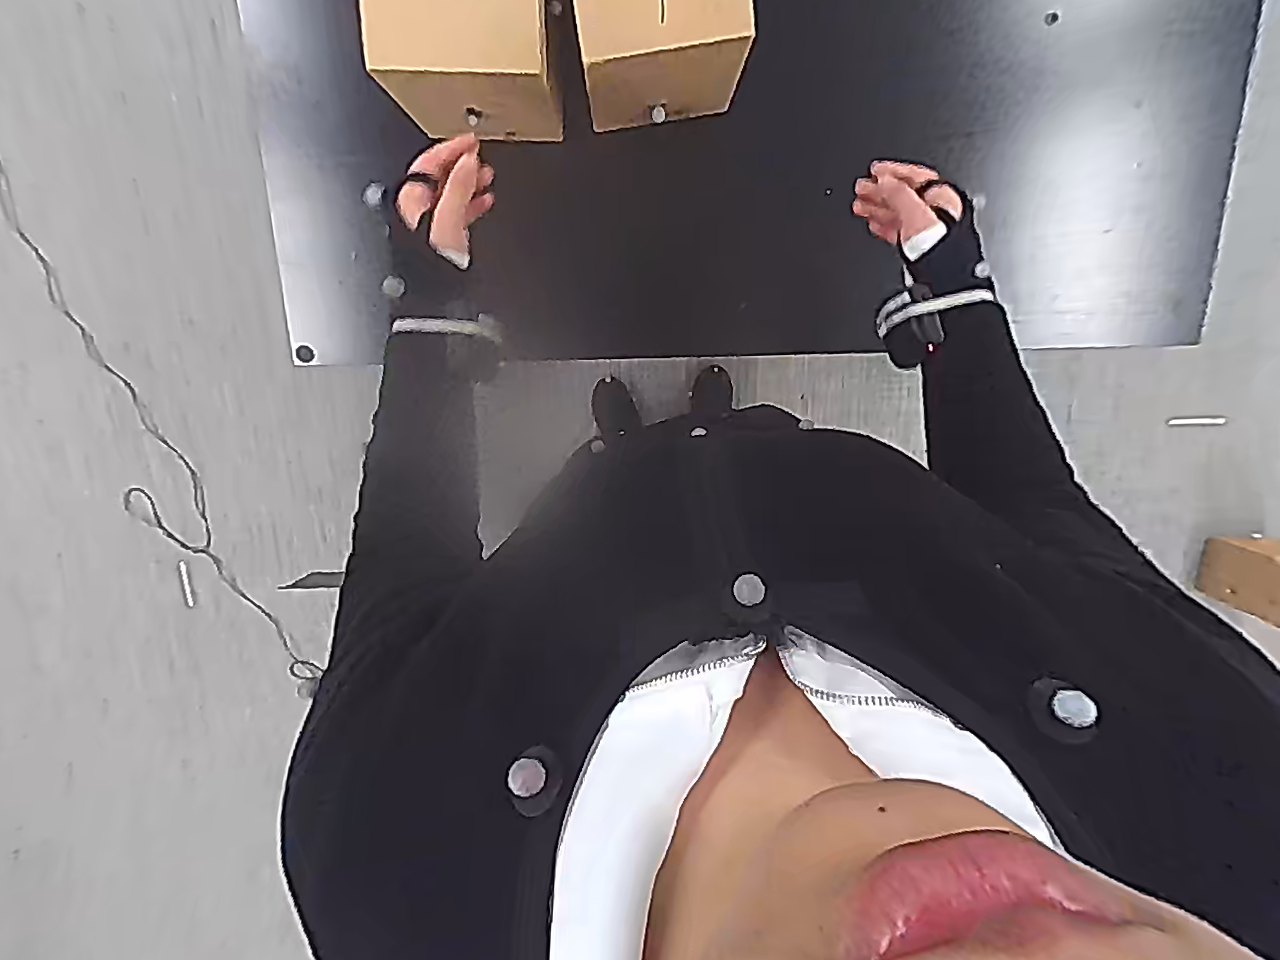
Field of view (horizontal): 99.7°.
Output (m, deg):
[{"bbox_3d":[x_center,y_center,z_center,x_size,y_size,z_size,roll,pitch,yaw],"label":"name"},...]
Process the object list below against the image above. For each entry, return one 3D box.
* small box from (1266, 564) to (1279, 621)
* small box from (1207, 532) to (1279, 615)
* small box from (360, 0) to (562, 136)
[{"bbox_3d":[1.715,0.290,1.313,0.179,0.176,0.168,-4,103,0],"label":"small box"},{"bbox_3d":[1.717,0.251,1.473,0.168,0.176,0.179,-2,102,0],"label":"small box"},{"bbox_3d":[-0.175,-0.487,0.568,0.168,0.176,0.179,1,102,-1],"label":"small box"}]
